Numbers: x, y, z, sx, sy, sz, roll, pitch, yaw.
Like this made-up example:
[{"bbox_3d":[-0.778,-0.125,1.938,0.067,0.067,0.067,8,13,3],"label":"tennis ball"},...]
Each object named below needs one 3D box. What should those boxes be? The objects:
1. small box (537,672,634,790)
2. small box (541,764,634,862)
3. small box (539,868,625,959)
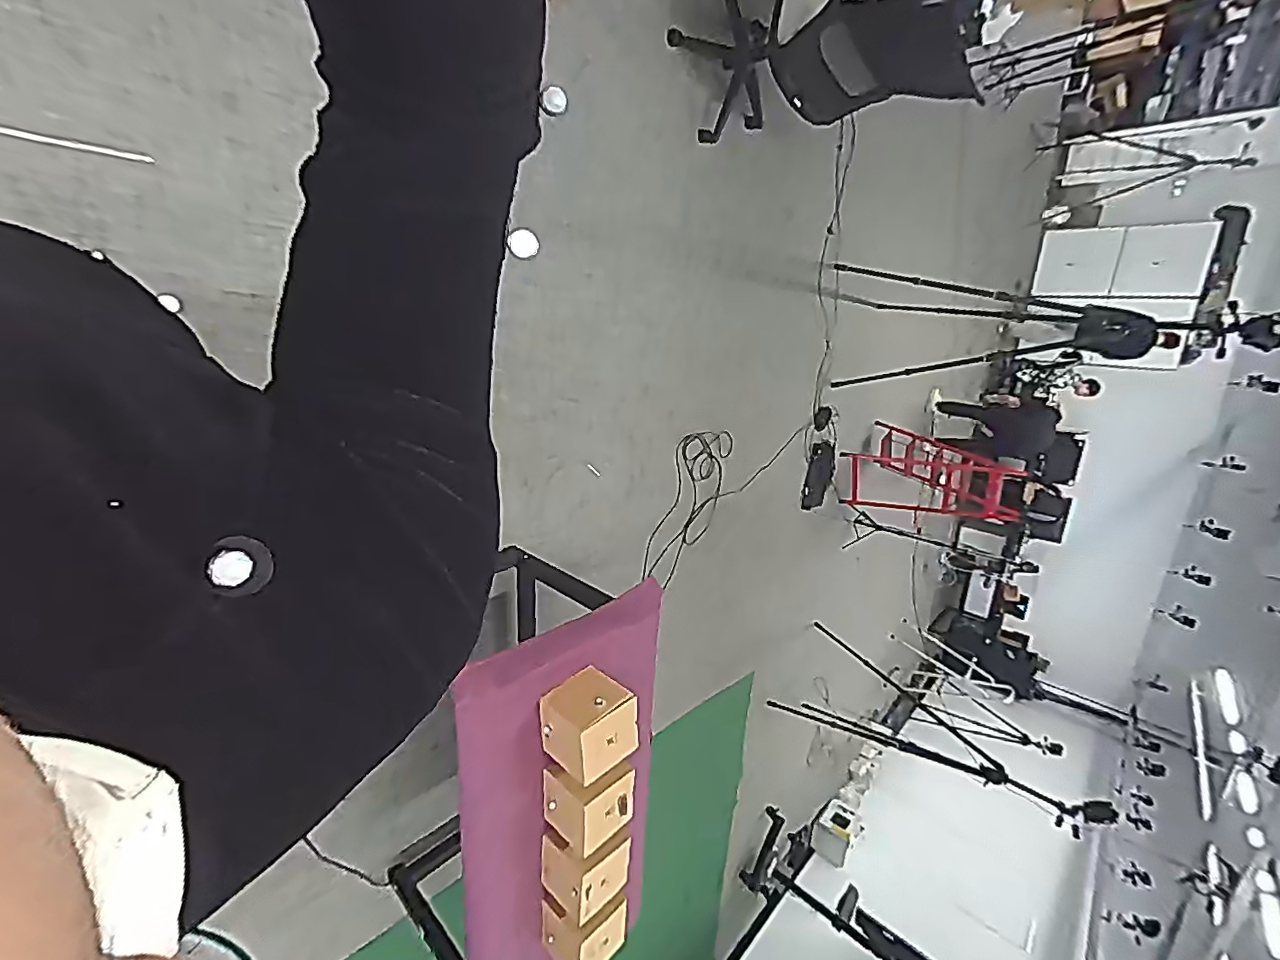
[{"bbox_3d":[-0.135,0.613,1.350,0.179,0.176,0.168,-19,116,-42],"label":"small box"},{"bbox_3d":[-0.138,0.831,1.418,0.179,0.176,0.168,-13,112,-44],"label":"small box"},{"bbox_3d":[-0.164,1.262,1.533,0.179,0.176,0.168,-11,110,-45],"label":"small box"}]
